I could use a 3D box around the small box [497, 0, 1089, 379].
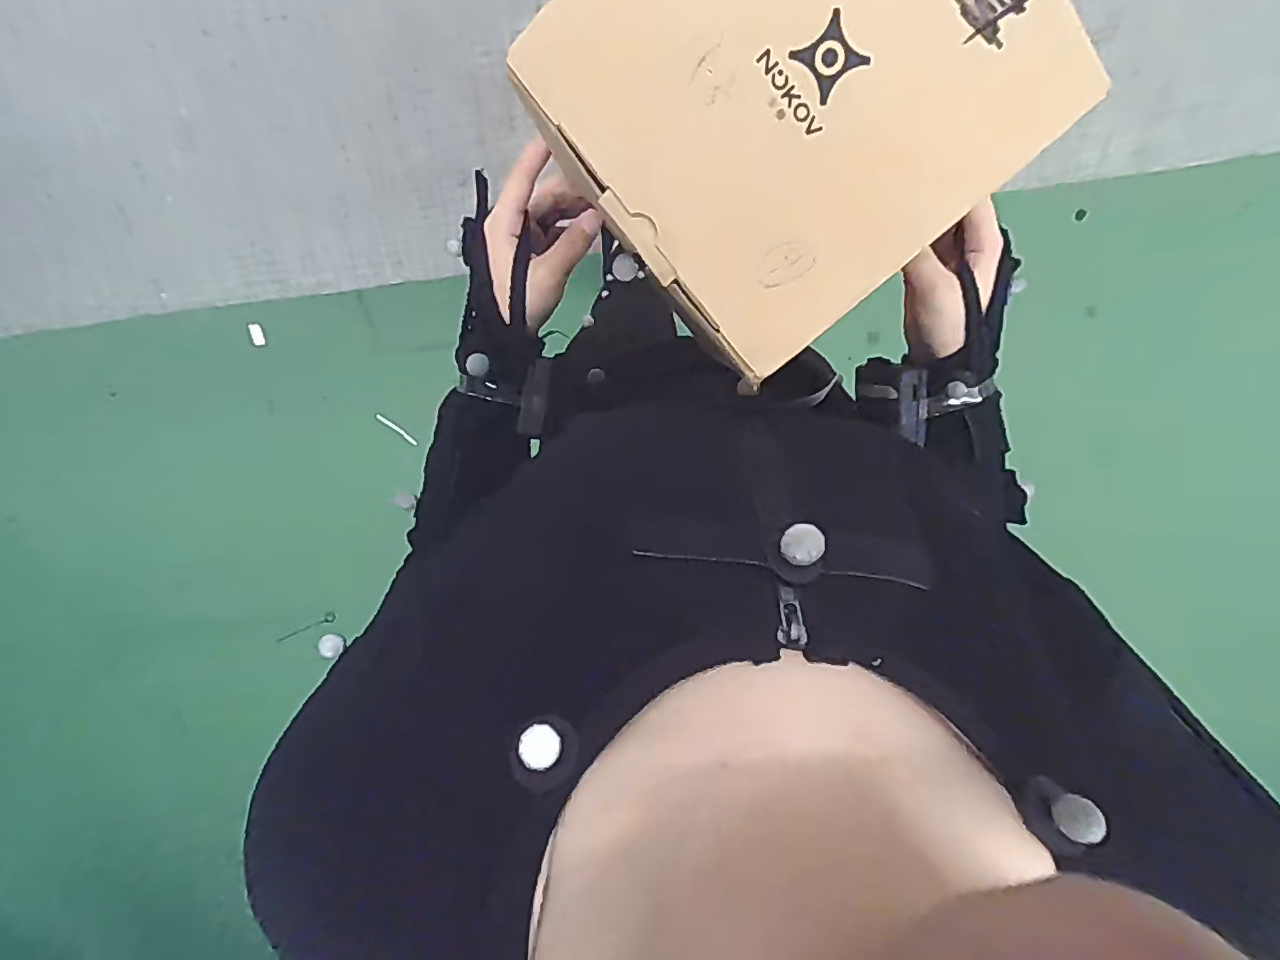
[{"bbox_3d":[0.061,-0.178,0.288,0.179,0.176,0.168,-39,103,12],"label":"small box"}]
